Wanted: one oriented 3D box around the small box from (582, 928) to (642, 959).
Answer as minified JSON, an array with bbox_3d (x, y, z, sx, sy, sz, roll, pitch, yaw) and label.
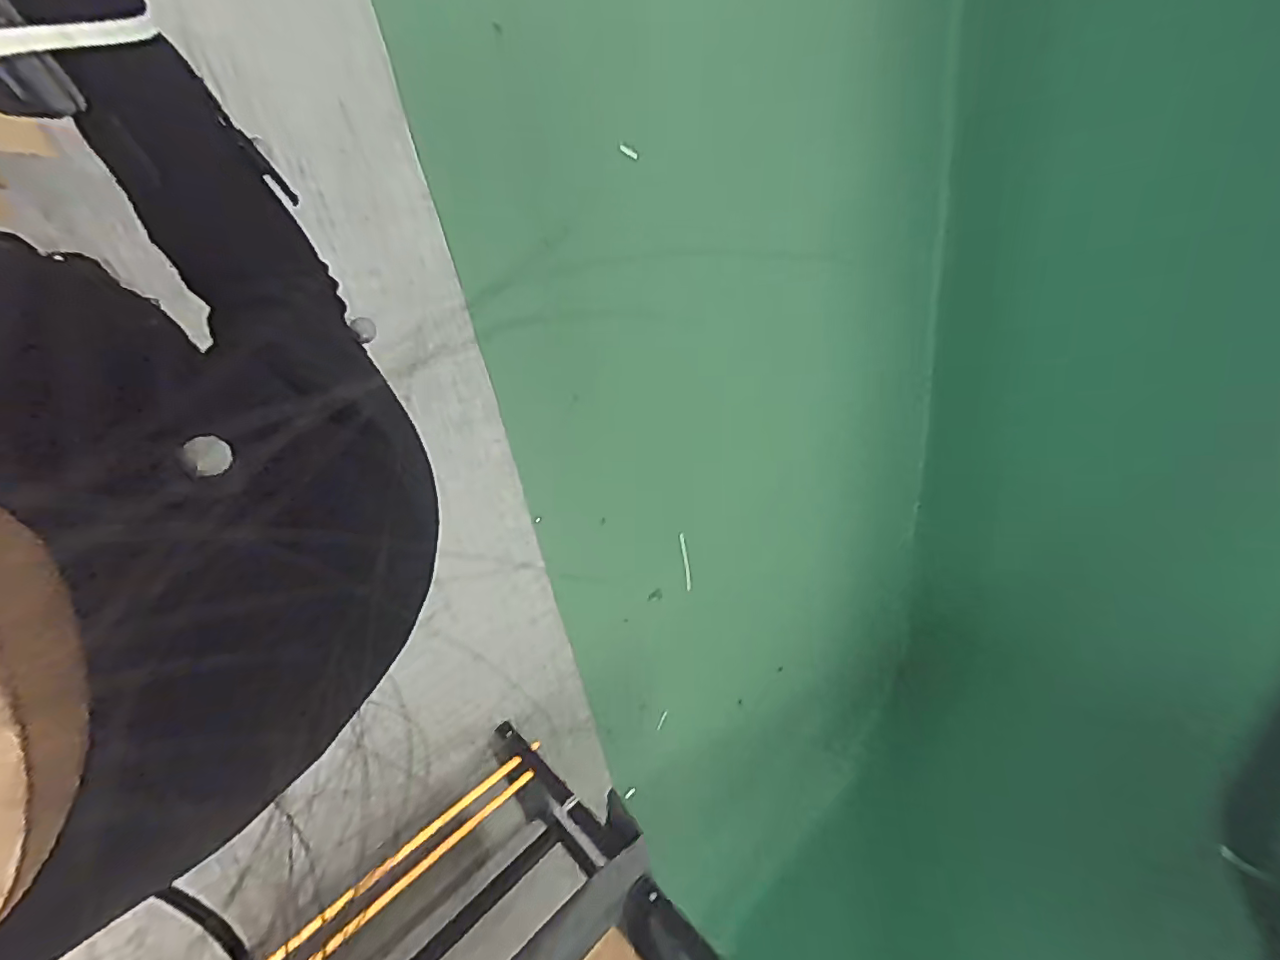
[{"bbox_3d":[-0.061,1.295,1.366,0.168,0.176,0.179,-32,125,-31],"label":"small box"}]
